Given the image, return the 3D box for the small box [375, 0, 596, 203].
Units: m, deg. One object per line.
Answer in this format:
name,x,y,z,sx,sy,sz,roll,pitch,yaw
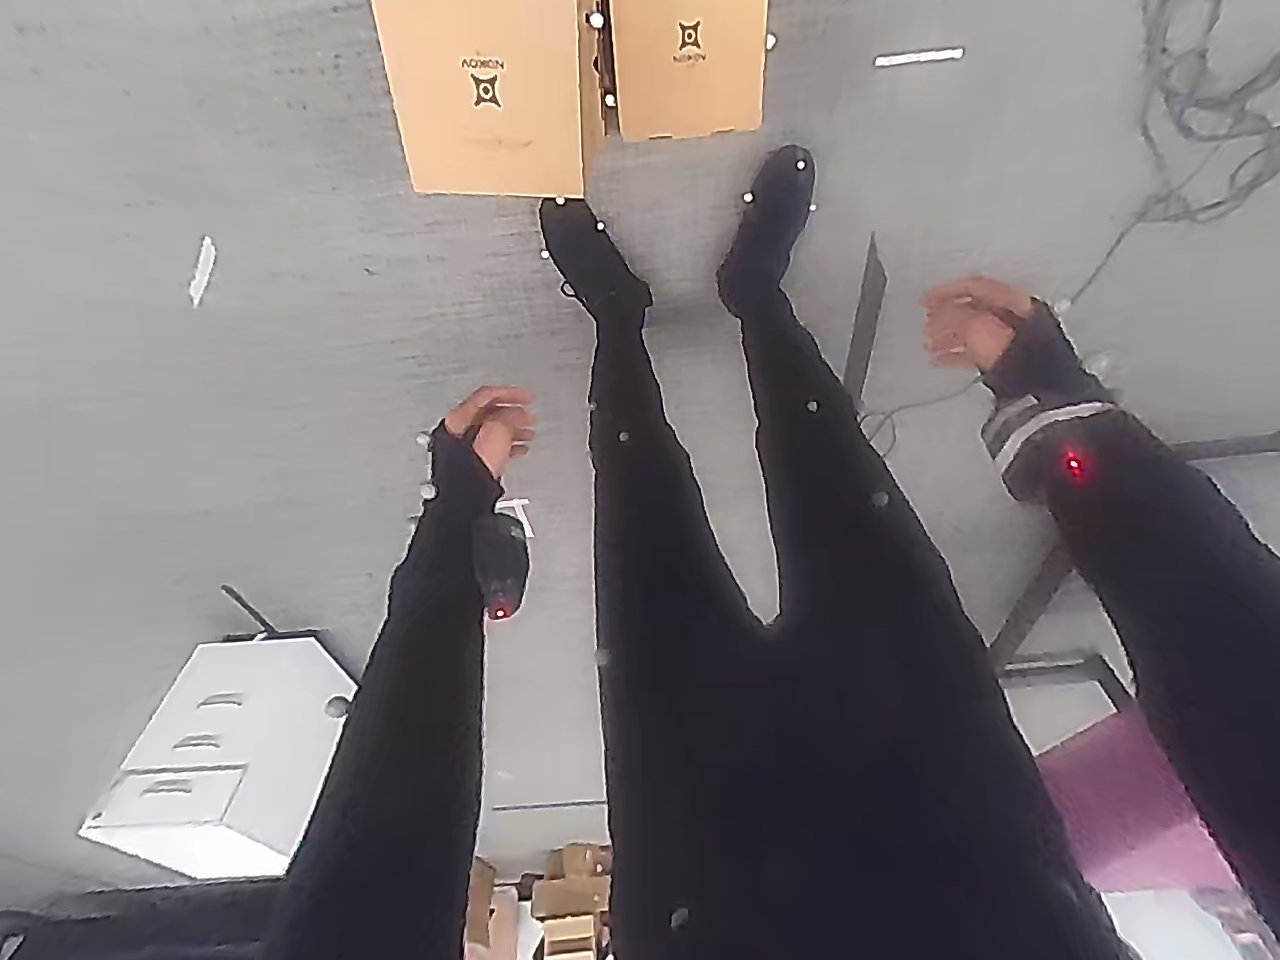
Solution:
small box,-0.130,-0.387,0.520,0.168,0.176,0.179,1,132,-2
